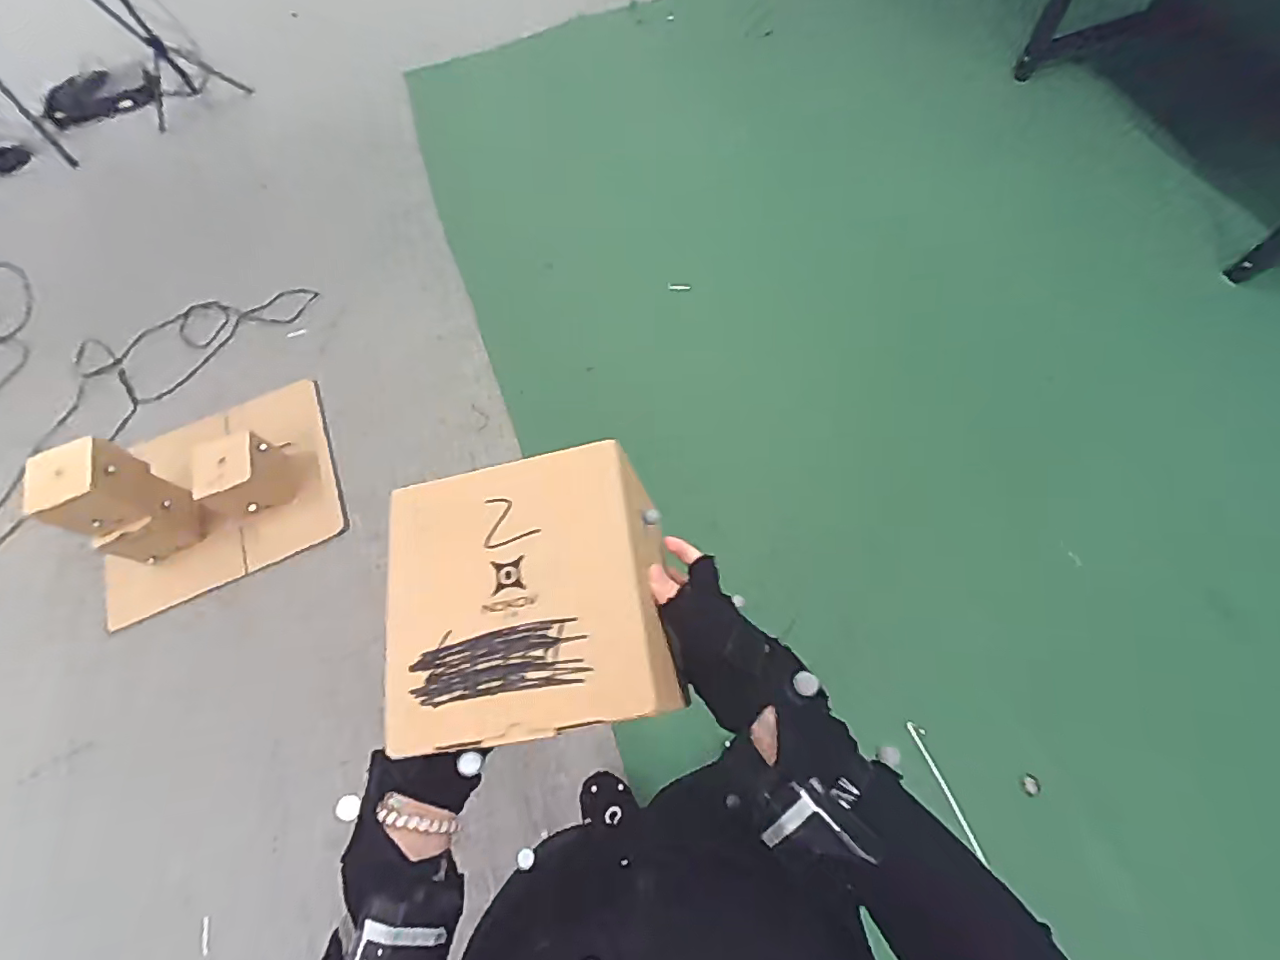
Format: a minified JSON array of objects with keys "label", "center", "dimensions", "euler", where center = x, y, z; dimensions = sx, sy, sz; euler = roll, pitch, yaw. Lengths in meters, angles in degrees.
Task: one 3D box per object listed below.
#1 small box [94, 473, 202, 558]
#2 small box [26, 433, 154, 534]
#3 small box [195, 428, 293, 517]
[{"label":"small box","center":[-1.398,0.106,1.544],"dimensions":[0.168,0.176,0.179],"euler":[-26,66,-6]},{"label":"small box","center":[-1.420,0.014,1.408],"dimensions":[0.168,0.176,0.179],"euler":[-23,65,-6]},{"label":"small box","center":[-1.151,-0.018,1.580],"dimensions":[0.168,0.176,0.179],"euler":[-20,66,-3]}]
